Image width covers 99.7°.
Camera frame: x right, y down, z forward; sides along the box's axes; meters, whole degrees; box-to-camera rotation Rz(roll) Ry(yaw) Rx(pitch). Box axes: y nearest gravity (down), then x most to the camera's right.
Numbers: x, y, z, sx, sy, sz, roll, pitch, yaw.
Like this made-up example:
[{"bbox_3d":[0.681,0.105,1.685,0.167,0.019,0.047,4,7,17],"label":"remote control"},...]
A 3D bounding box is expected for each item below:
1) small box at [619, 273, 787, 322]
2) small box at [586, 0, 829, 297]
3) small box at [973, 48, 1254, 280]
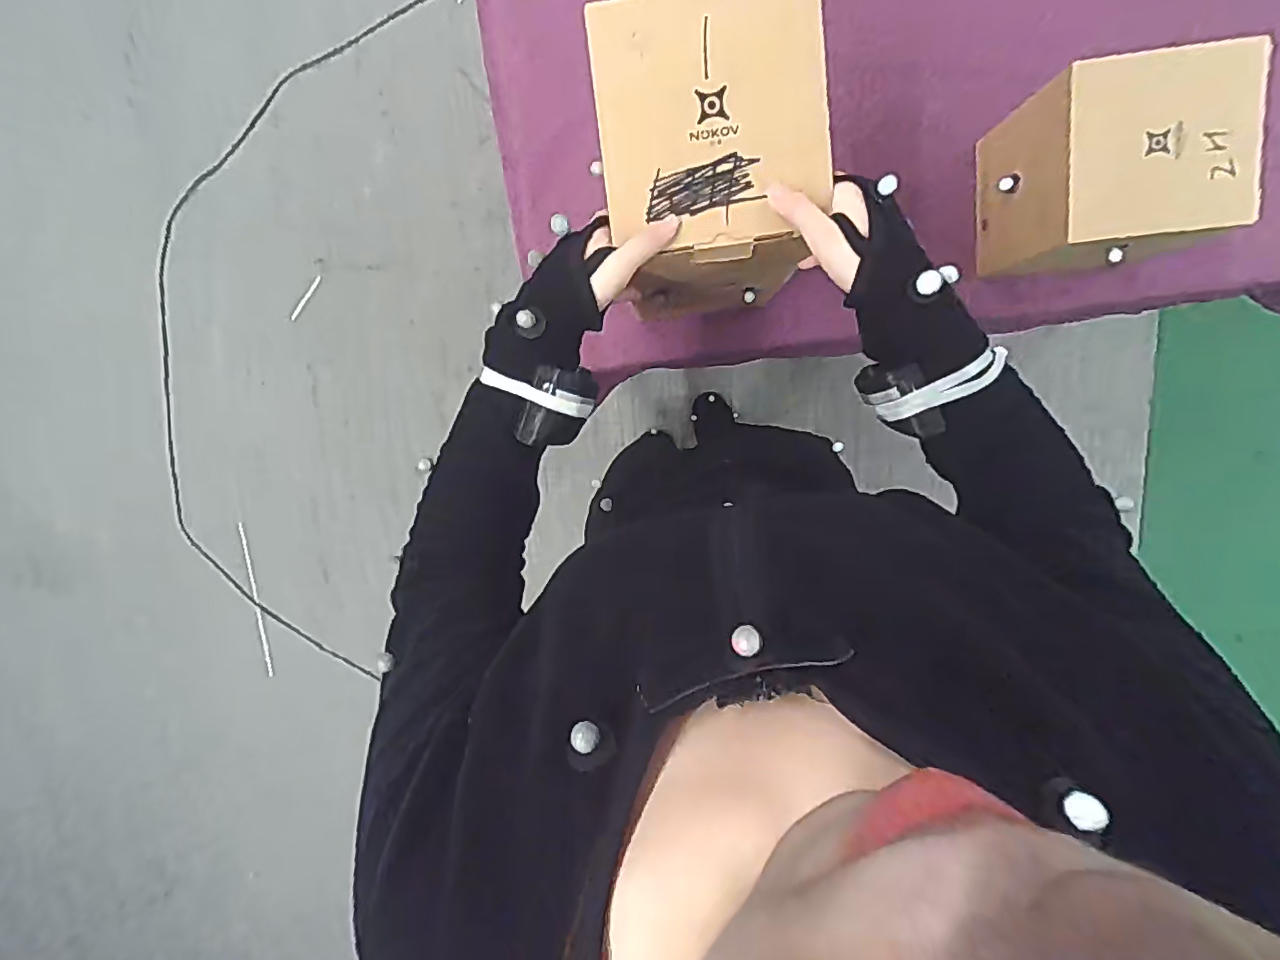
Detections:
[{"bbox_3d":[0.063,-0.288,0.635,0.179,0.176,0.168,-6,98,3],"label":"small box"},{"bbox_3d":[0.055,-0.267,0.472,0.168,0.176,0.179,-7,97,4],"label":"small box"},{"bbox_3d":[0.500,-0.330,0.602,0.179,0.176,0.168,-5,99,4],"label":"small box"}]
